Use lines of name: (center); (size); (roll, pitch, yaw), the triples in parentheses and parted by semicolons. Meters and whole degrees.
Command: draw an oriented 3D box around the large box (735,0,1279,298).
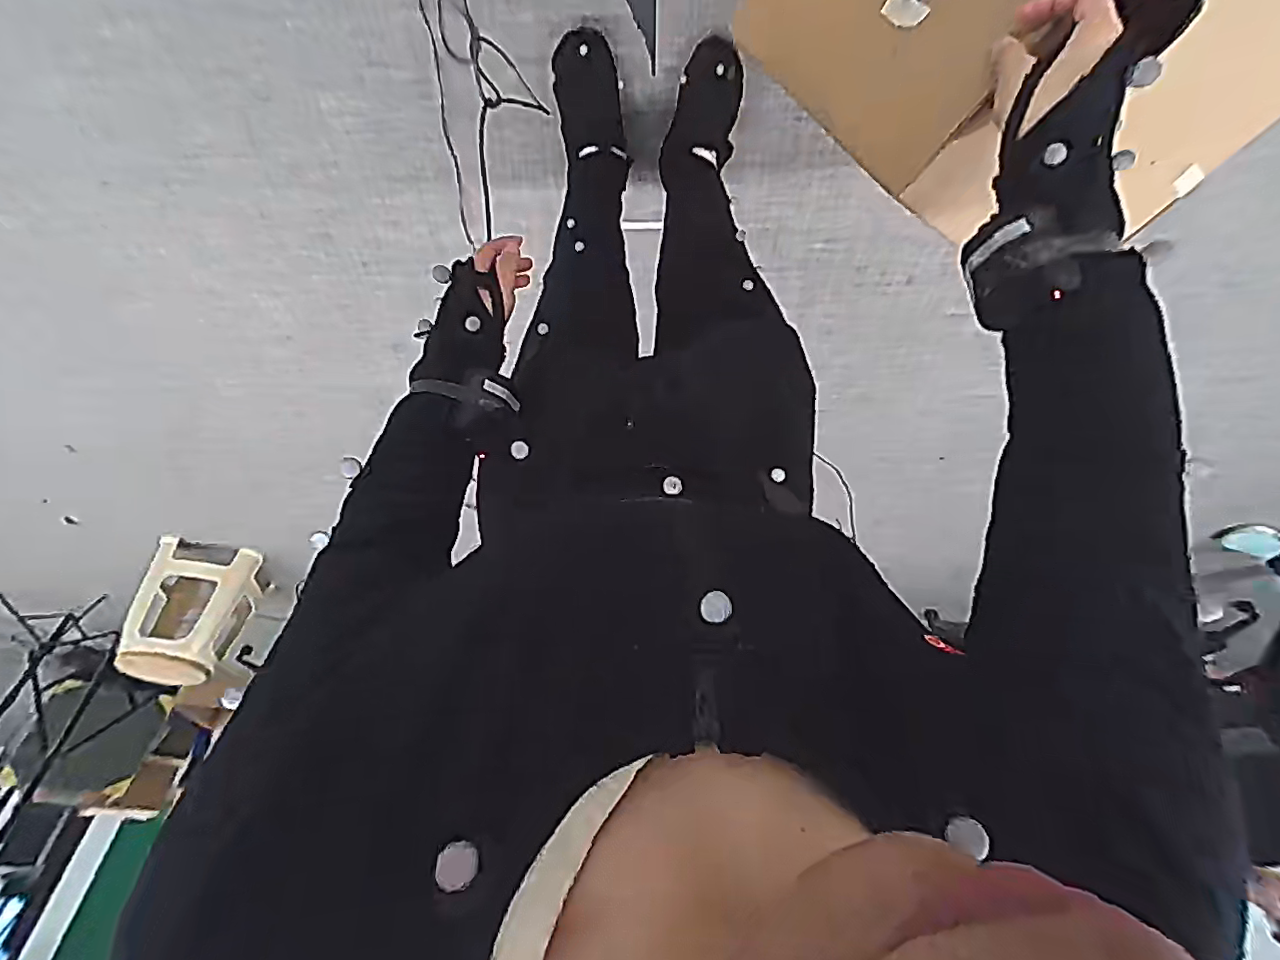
large box: (0.370, -0.470, 0.562); (0.320, 0.408, 0.320); (7, 140, -35)
